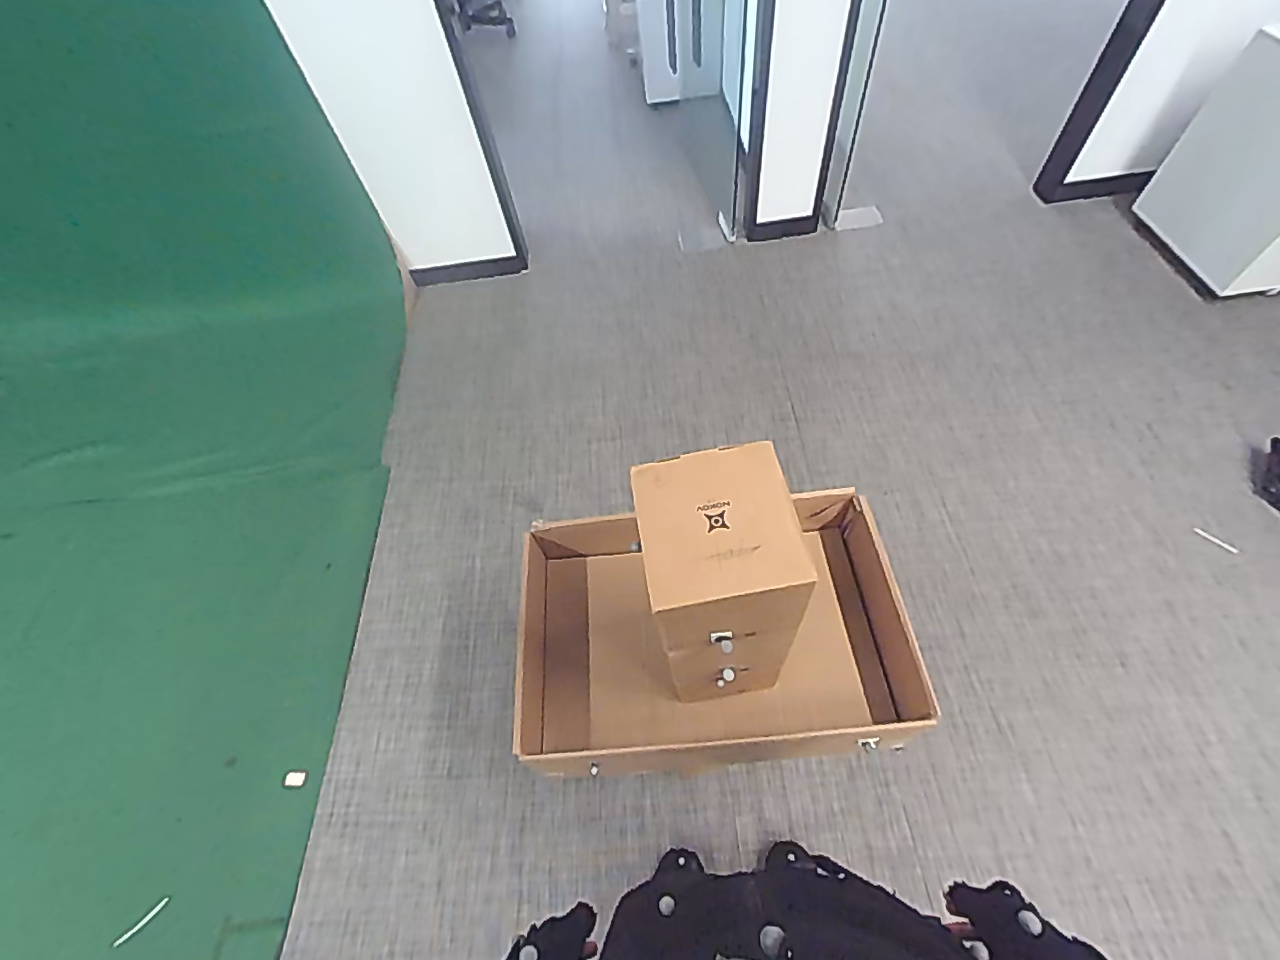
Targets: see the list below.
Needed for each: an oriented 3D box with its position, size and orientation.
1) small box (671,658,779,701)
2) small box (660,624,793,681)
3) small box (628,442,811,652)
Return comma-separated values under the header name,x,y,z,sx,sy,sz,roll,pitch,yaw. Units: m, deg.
name,x,y,z,sx,sy,sz,roll,pitch,yaw
small box,0.127,0.255,0.916,0.168,0.176,0.179,-12,56,2
small box,0.105,0.171,0.777,0.168,0.176,0.179,-11,57,1
small box,0.086,0.084,0.642,0.168,0.176,0.179,-12,57,2
